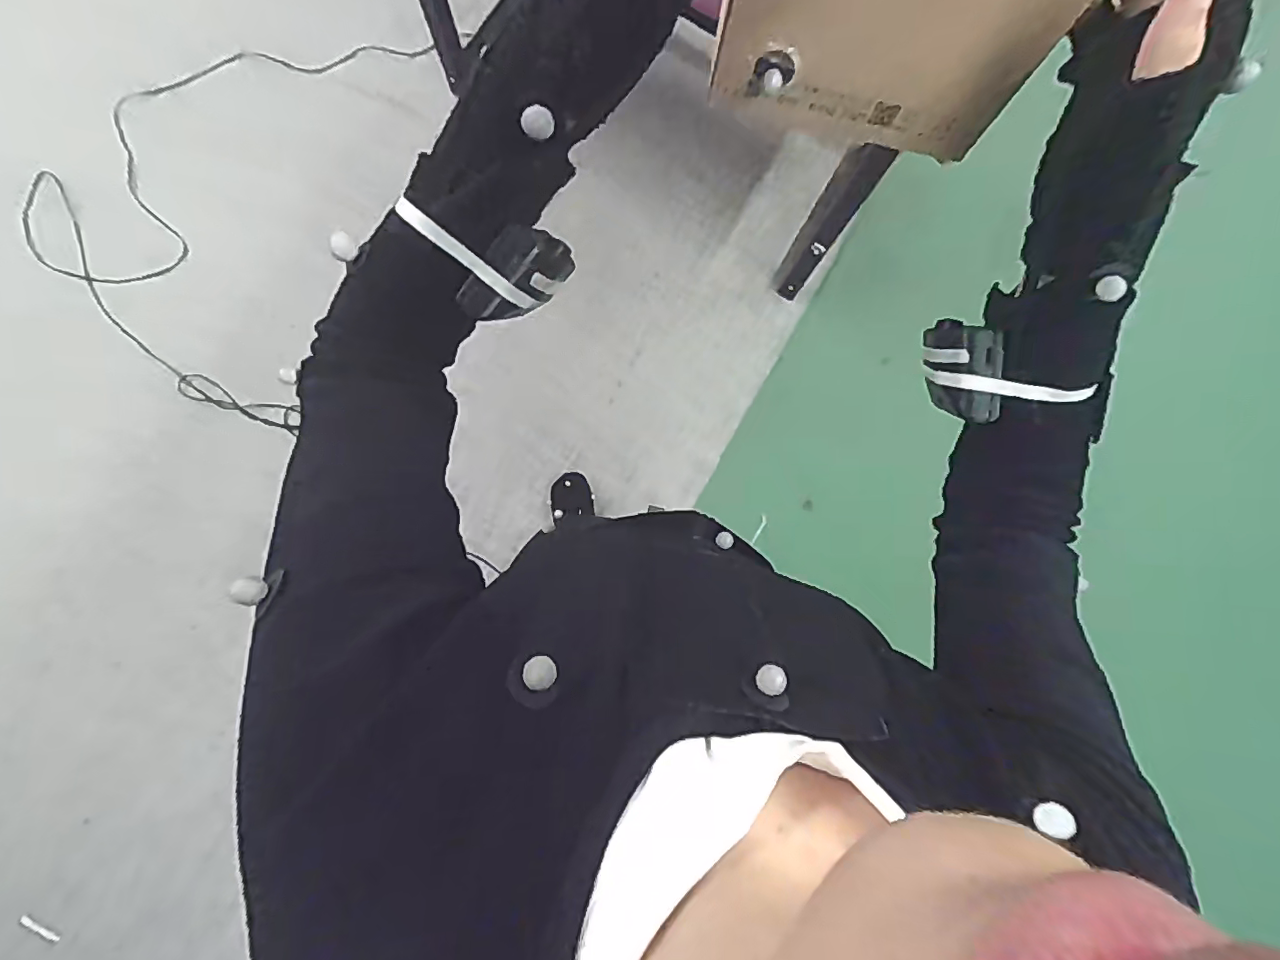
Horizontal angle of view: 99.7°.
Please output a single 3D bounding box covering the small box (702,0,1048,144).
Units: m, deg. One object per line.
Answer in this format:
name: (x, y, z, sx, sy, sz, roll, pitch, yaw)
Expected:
small box: (0.133, -0.319, 0.282, 0.168, 0.176, 0.179, 10, 74, -3)
